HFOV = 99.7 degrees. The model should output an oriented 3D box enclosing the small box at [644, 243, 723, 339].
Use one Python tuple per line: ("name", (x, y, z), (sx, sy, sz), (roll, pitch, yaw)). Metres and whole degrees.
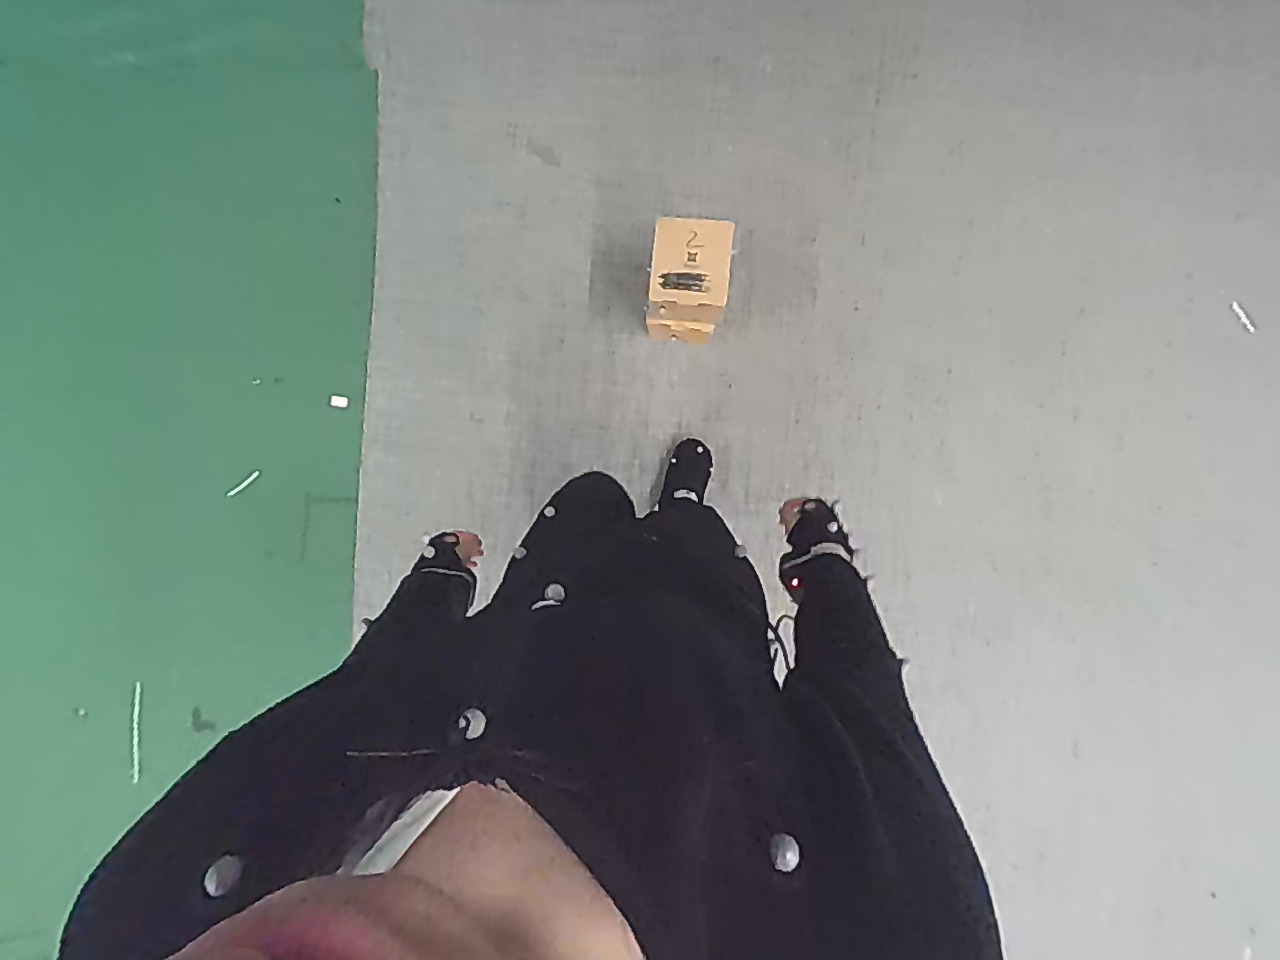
("small box", (0.106, -0.472, 1.374), (0.168, 0.176, 0.179), (10, 95, 2))
